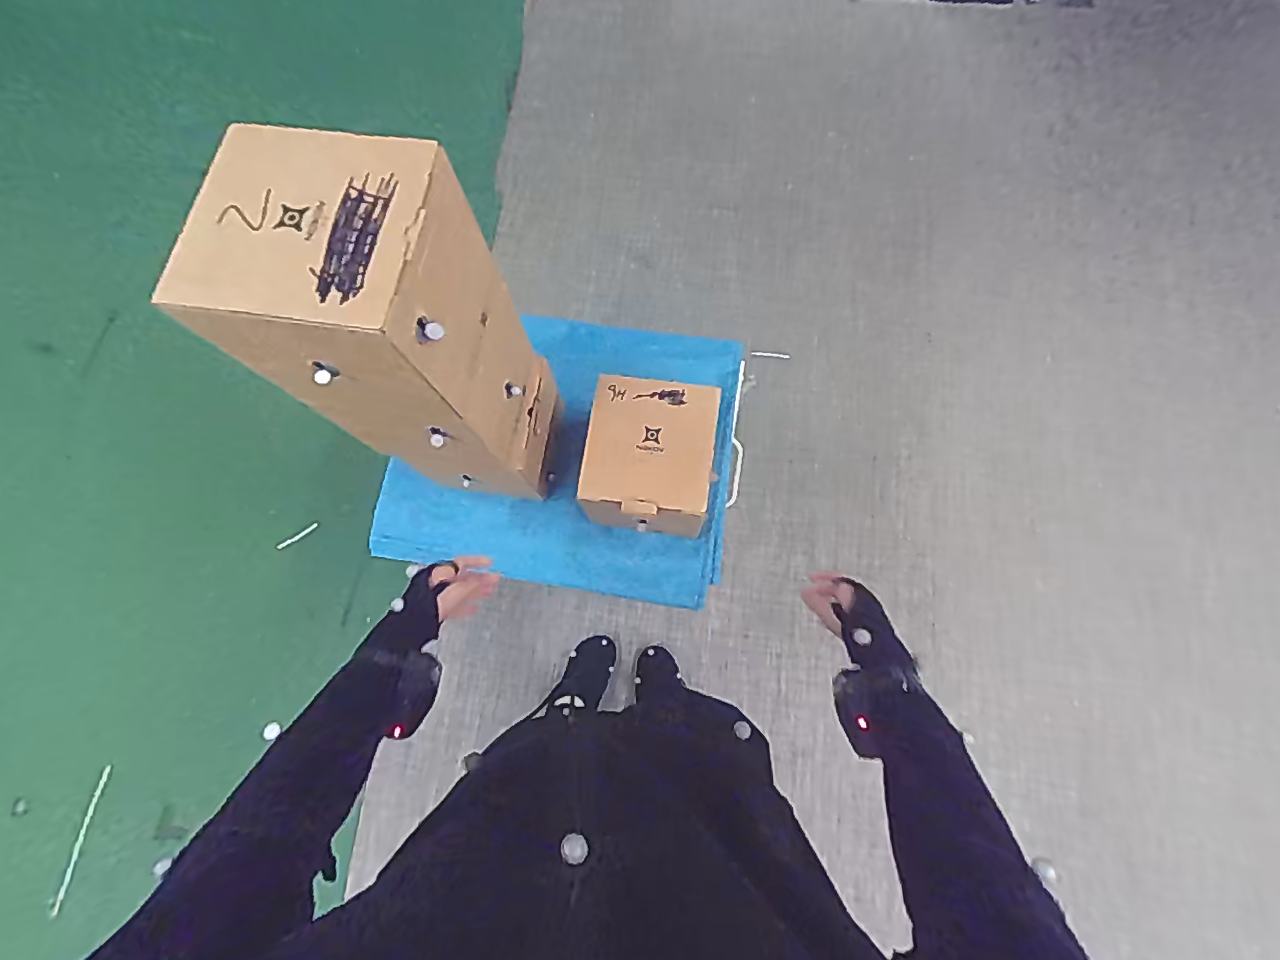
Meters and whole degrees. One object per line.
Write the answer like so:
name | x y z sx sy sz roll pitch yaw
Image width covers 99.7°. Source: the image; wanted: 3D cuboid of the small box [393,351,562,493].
small box | -0.220 -0.085 0.785 0.179 0.176 0.168 8 74 4

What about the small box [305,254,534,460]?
small box | -0.233 -0.130 0.628 0.179 0.176 0.168 8 74 4

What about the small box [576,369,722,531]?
small box | 0.017 -0.033 0.763 0.168 0.176 0.179 9 75 4
